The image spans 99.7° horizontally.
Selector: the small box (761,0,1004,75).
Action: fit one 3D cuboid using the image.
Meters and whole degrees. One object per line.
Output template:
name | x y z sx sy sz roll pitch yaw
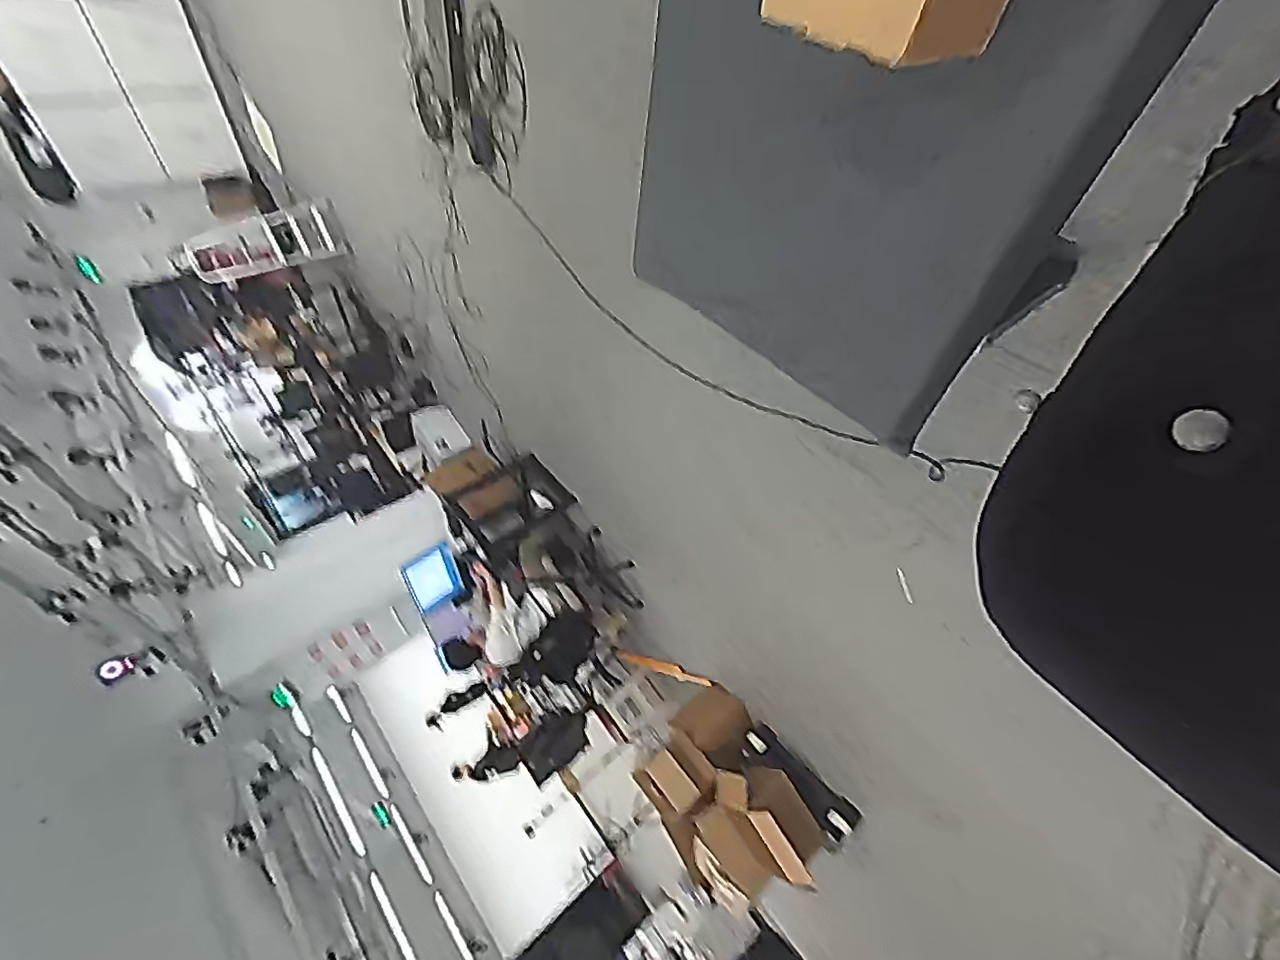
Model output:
small box | 0.242 -0.498 0.484 0.168 0.176 0.179 42 147 25
